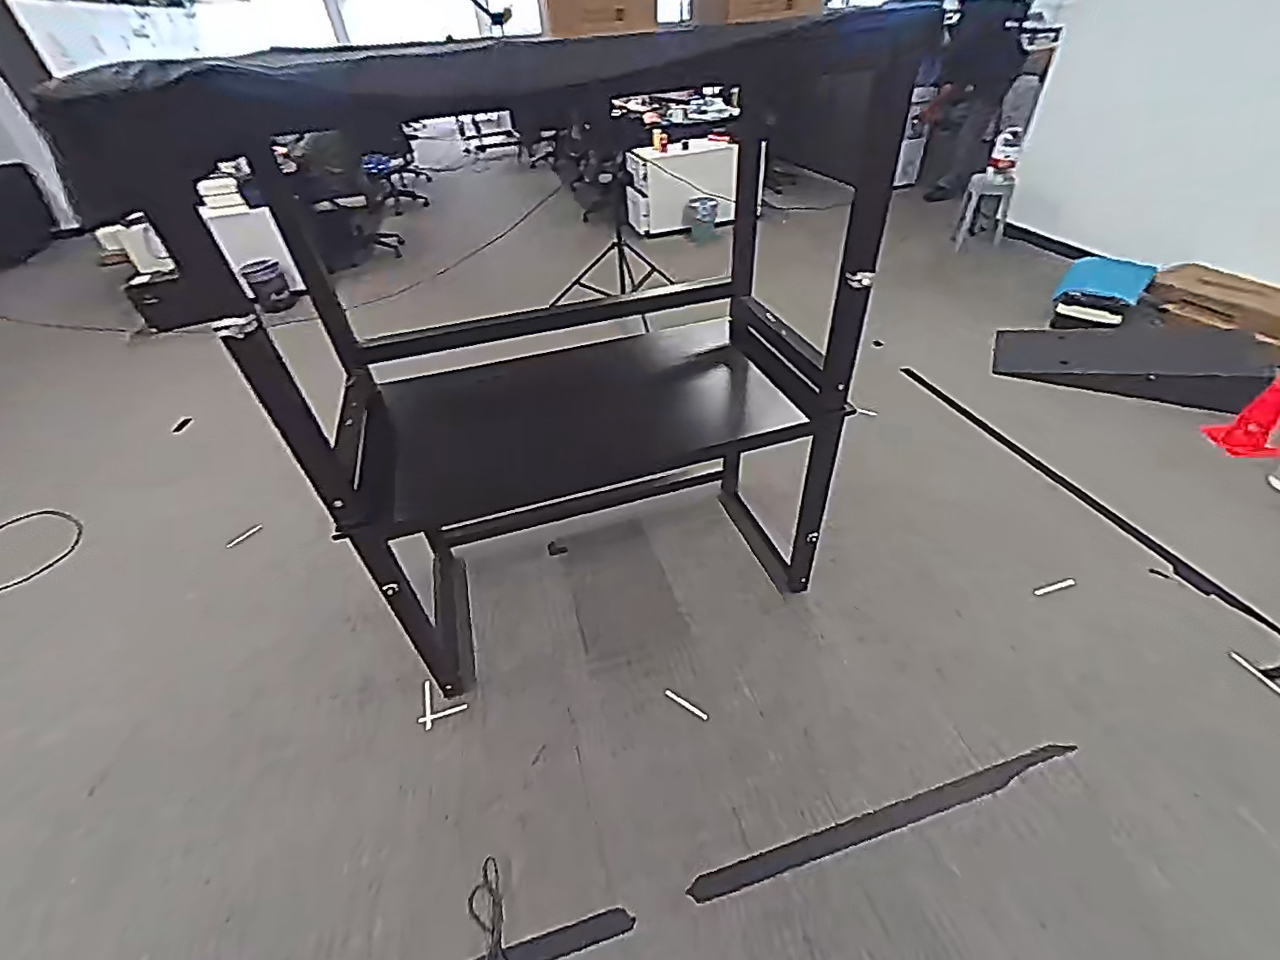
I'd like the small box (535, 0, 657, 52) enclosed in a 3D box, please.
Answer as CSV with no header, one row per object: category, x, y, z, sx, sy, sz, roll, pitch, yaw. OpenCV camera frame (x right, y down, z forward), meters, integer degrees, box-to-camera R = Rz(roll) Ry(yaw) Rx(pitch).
small box,-0.075,-0.765,0.817,0.168,0.176,0.179,-12,40,-8
